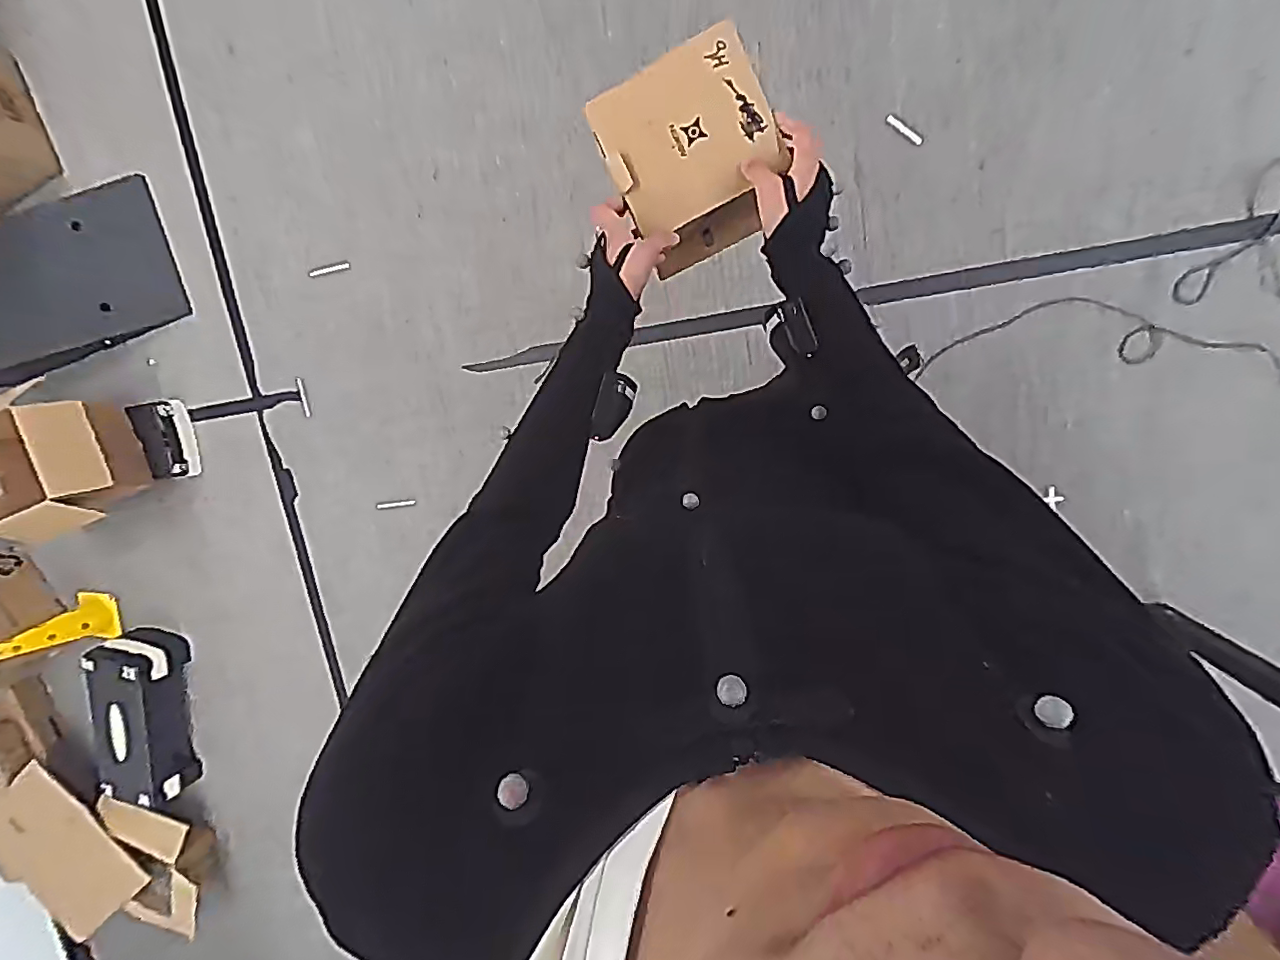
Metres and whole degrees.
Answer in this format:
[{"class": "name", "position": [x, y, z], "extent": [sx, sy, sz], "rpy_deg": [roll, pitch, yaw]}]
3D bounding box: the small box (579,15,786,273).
[{"class": "small box", "position": [0.056, -0.374, 0.645], "extent": [0.179, 0.176, 0.168], "rpy_deg": [-25, 93, 11]}]

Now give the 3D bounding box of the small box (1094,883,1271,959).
[{"class": "small box", "position": [0.808, 0.735, 0.786], "extent": [0.168, 0.176, 0.179], "rpy_deg": [-12, 98, 14]}]
